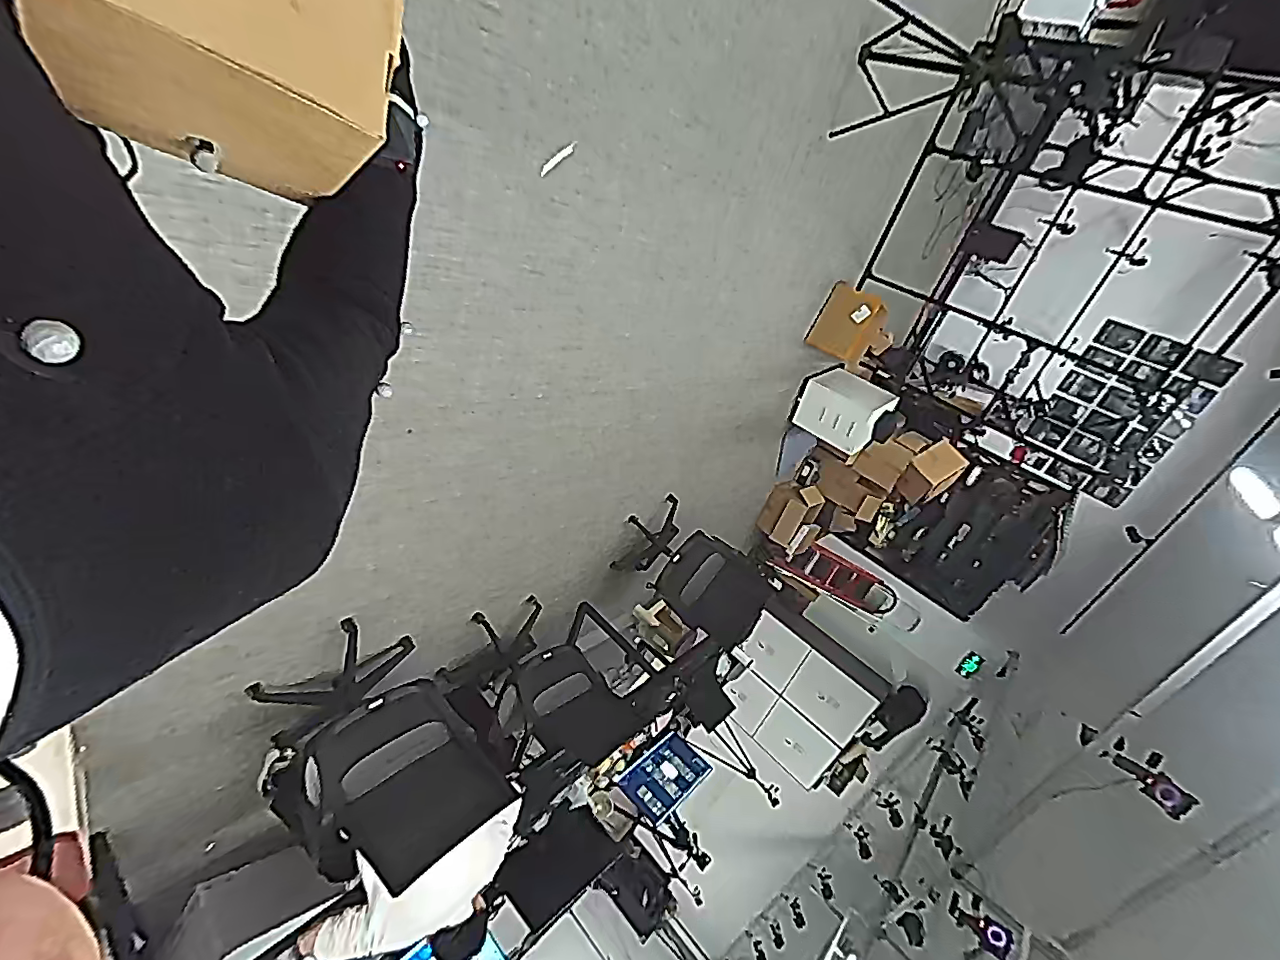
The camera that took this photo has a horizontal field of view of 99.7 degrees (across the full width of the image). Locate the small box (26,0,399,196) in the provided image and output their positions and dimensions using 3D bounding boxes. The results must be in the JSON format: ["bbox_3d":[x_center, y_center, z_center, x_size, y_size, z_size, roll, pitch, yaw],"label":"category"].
[{"bbox_3d":[-0.295,-0.332,0.385,0.179,0.176,0.168,6,88,-46],"label":"small box"}]
